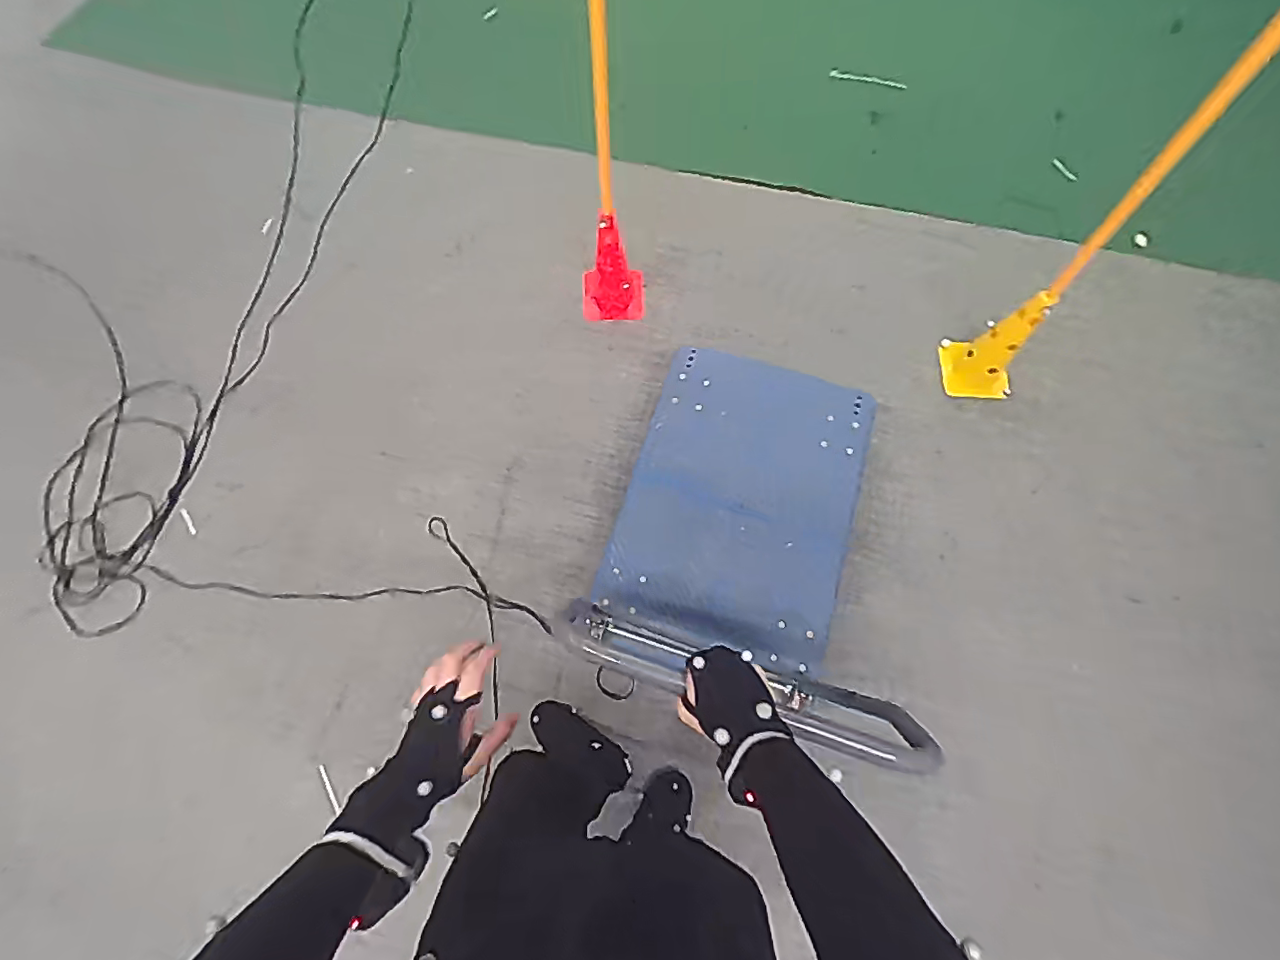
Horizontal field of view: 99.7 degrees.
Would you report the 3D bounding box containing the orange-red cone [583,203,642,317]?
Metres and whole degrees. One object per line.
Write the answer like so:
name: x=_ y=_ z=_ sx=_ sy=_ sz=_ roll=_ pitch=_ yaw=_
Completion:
orange-red cone: x=-0.097 y=-0.689 z=1.651 sx=0.199 sy=0.360 sz=0.198 roll=-1 pitch=70 yaw=1
